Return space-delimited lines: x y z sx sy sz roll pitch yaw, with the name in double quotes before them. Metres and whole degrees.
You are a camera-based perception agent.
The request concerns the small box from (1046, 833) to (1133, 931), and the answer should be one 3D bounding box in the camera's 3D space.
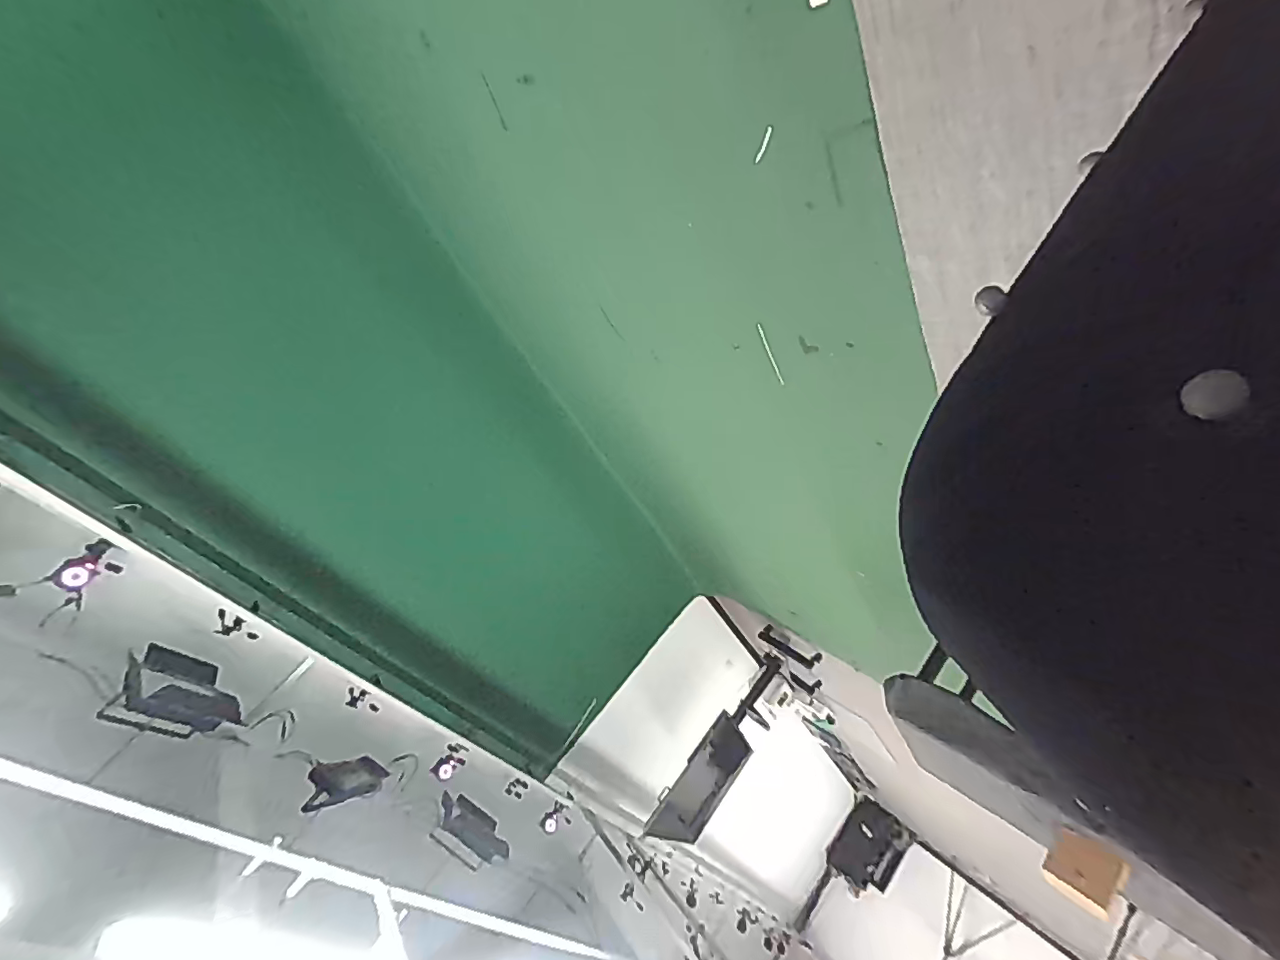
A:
"small box" 1.461 1.298 1.754 0.179 0.176 0.168 22 153 53
